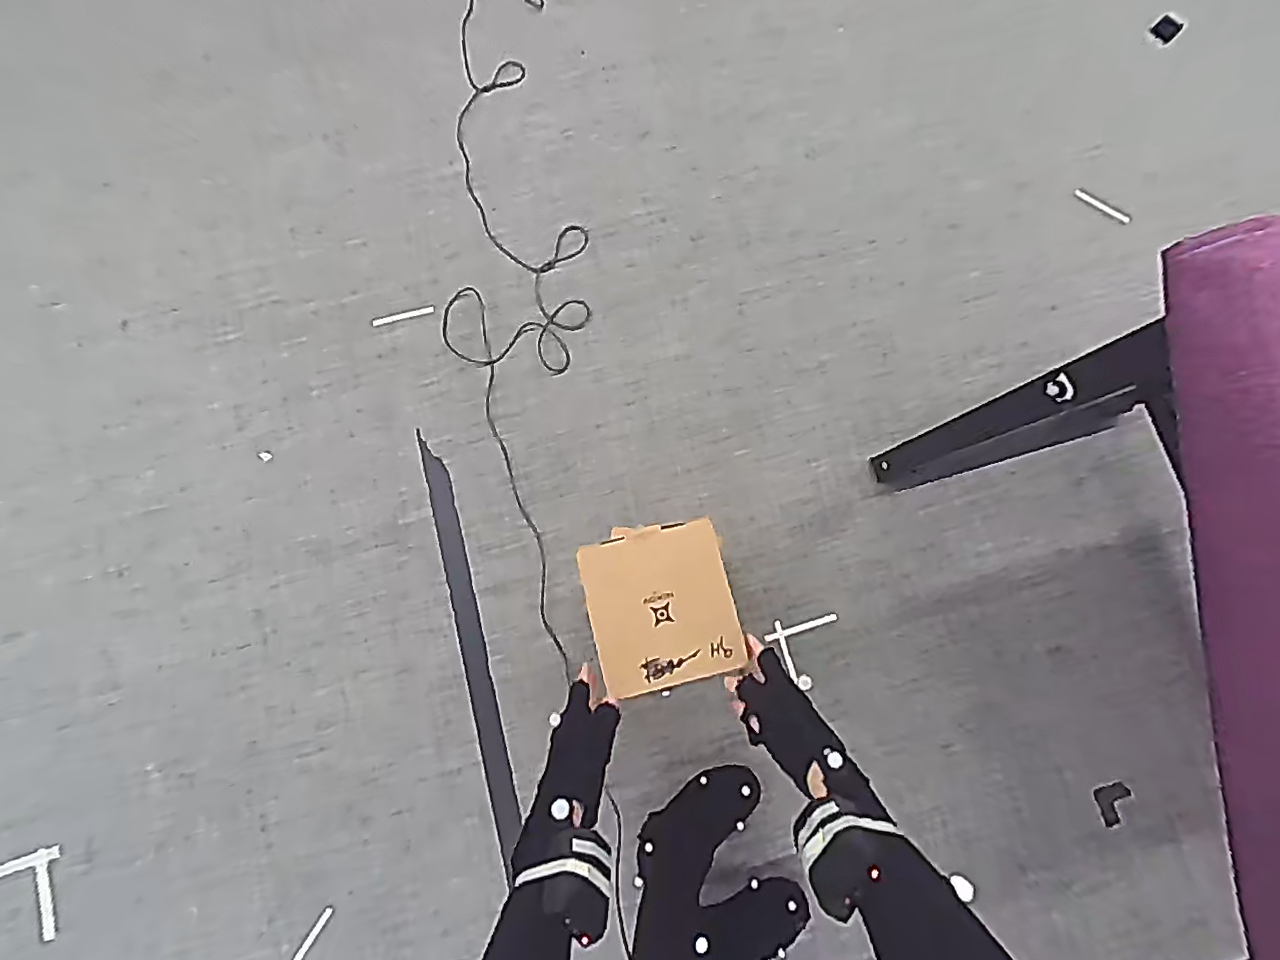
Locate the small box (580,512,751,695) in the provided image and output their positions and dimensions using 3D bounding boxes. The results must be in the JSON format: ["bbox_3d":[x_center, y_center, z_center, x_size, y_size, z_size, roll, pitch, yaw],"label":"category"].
[{"bbox_3d":[0.025,0.153,0.690,0.168,0.176,0.179,-13,80,-3],"label":"small box"}]
